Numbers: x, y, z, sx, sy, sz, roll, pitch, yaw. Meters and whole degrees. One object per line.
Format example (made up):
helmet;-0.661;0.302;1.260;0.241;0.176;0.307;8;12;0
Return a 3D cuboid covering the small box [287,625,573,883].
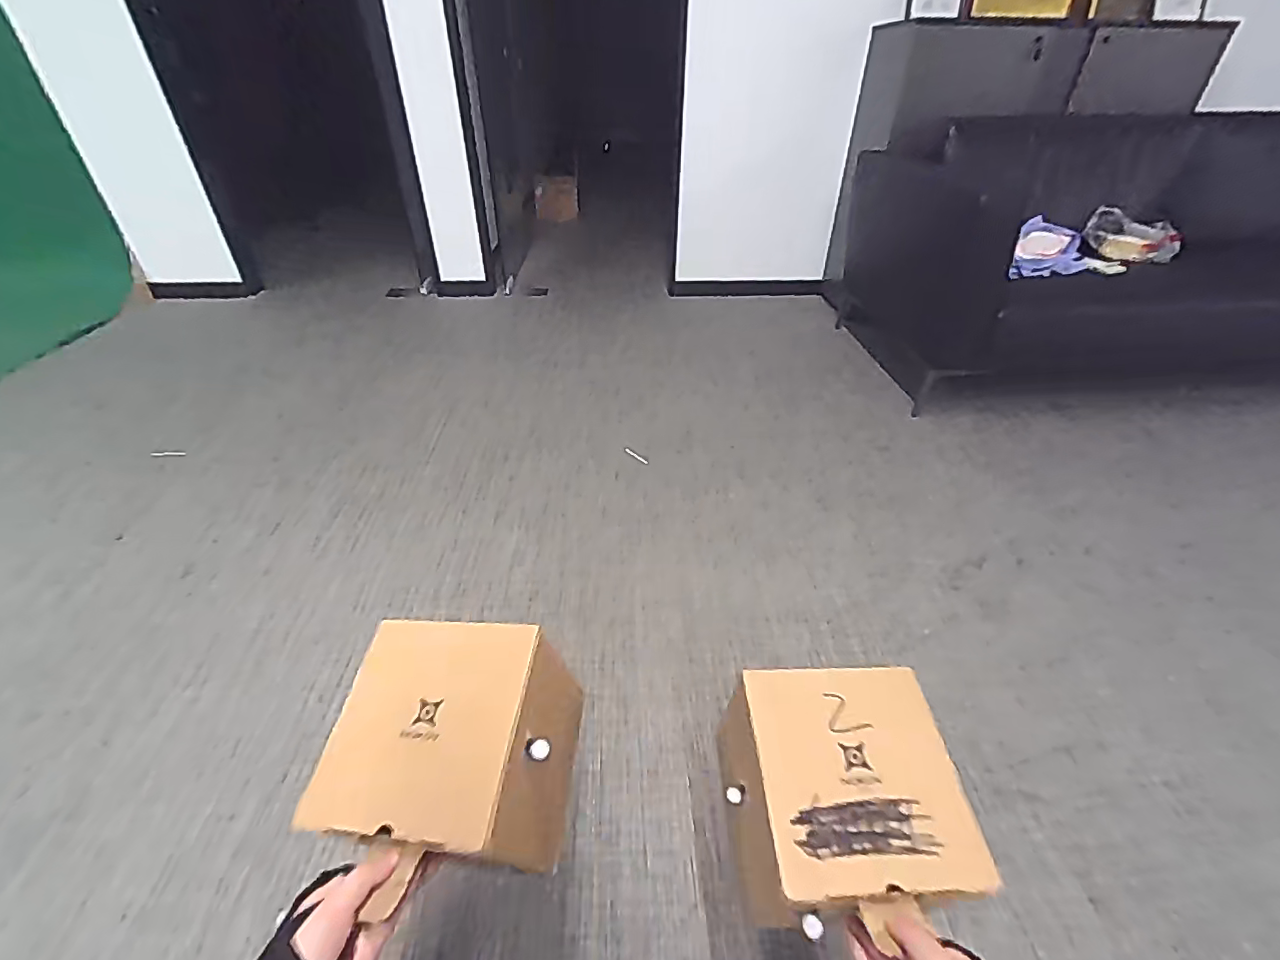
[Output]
small box;-0.171;0.259;0.513;0.168;0.176;0.179;0;51;12
